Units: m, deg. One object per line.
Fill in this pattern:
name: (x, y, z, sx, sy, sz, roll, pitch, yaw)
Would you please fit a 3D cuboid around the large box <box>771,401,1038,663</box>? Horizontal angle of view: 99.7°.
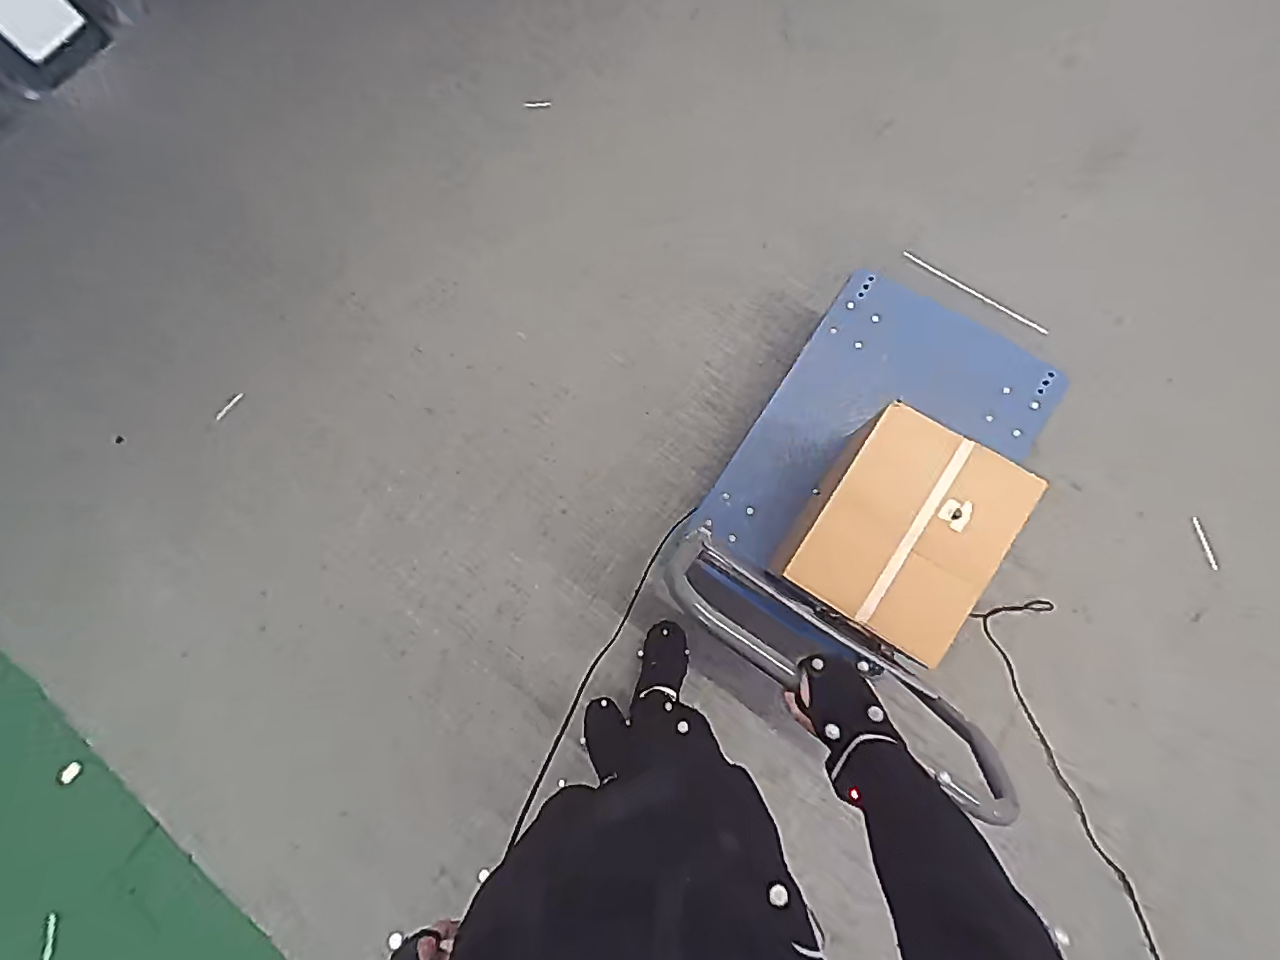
large box: (0.525, 0.112, 1.158, 0.320, 0.320, 0.408, 32, 87, 9)
